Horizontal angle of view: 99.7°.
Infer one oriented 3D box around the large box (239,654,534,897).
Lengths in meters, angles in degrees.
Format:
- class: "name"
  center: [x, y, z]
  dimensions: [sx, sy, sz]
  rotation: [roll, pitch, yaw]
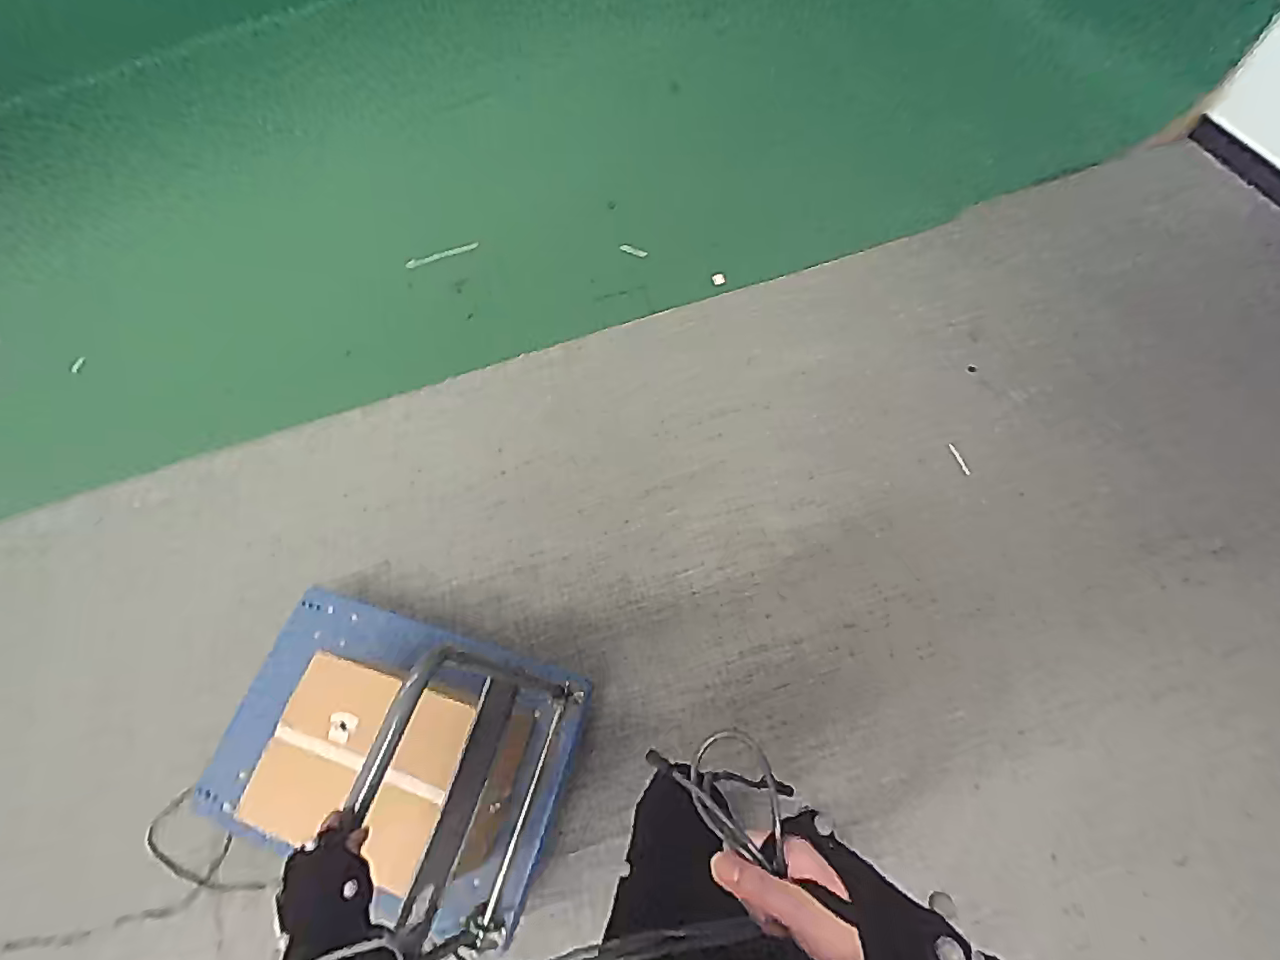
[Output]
- class: "large box"
  center: [-0.496, 0.594, 1.147]
  dimensions: [0.408, 0.320, 0.320]
  rotation: [13, 67, 15]
